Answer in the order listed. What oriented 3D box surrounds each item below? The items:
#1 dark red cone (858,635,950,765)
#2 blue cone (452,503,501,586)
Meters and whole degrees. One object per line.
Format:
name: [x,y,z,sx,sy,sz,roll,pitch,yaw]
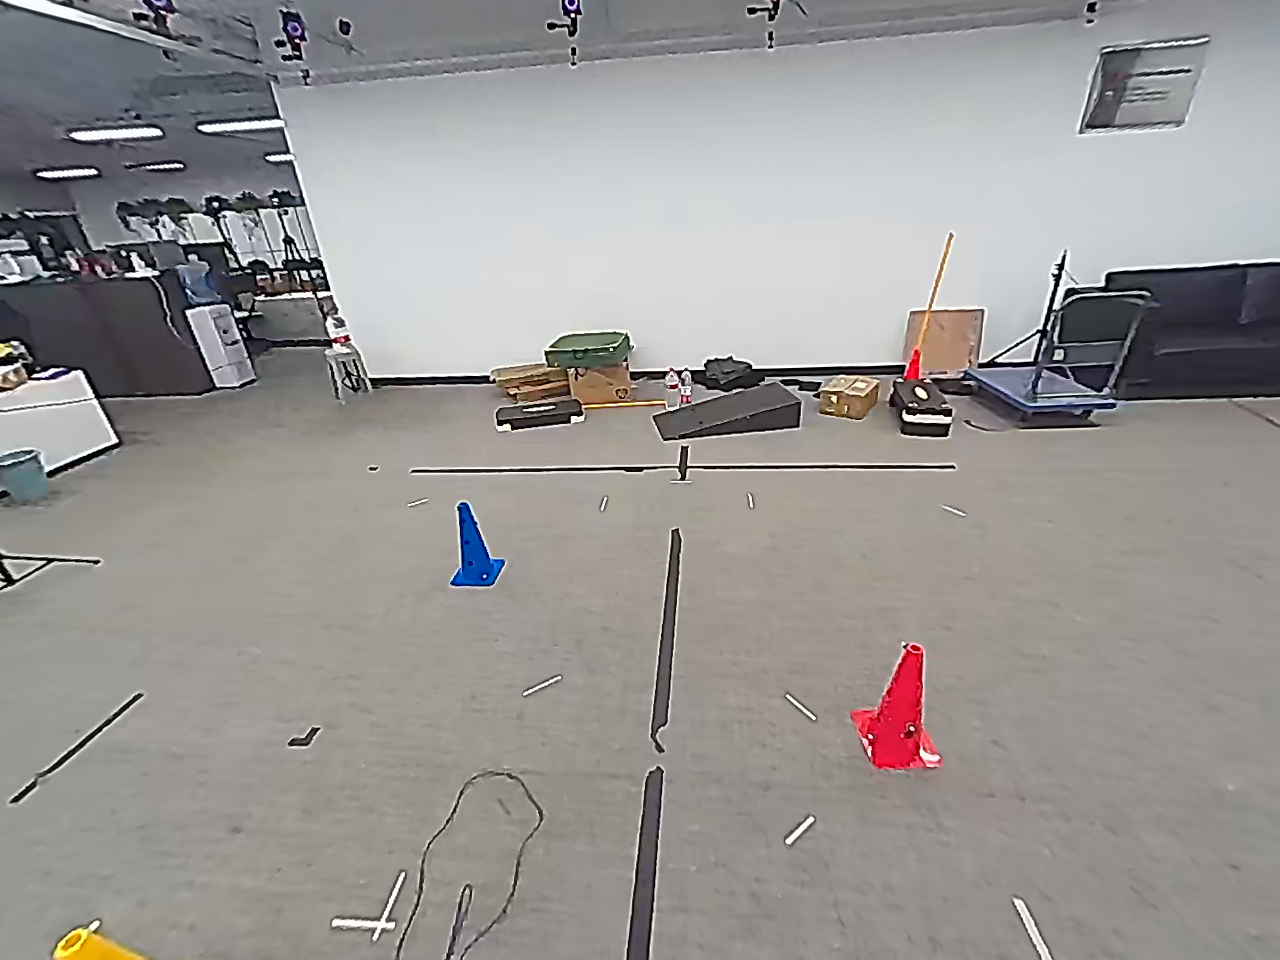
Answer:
dark red cone: [0.750,0.588,1.500,0.201,0.394,0.202,-4,26,0]
blue cone: [-0.747,0.271,2.371,0.192,0.380,0.193,-1,26,8]
